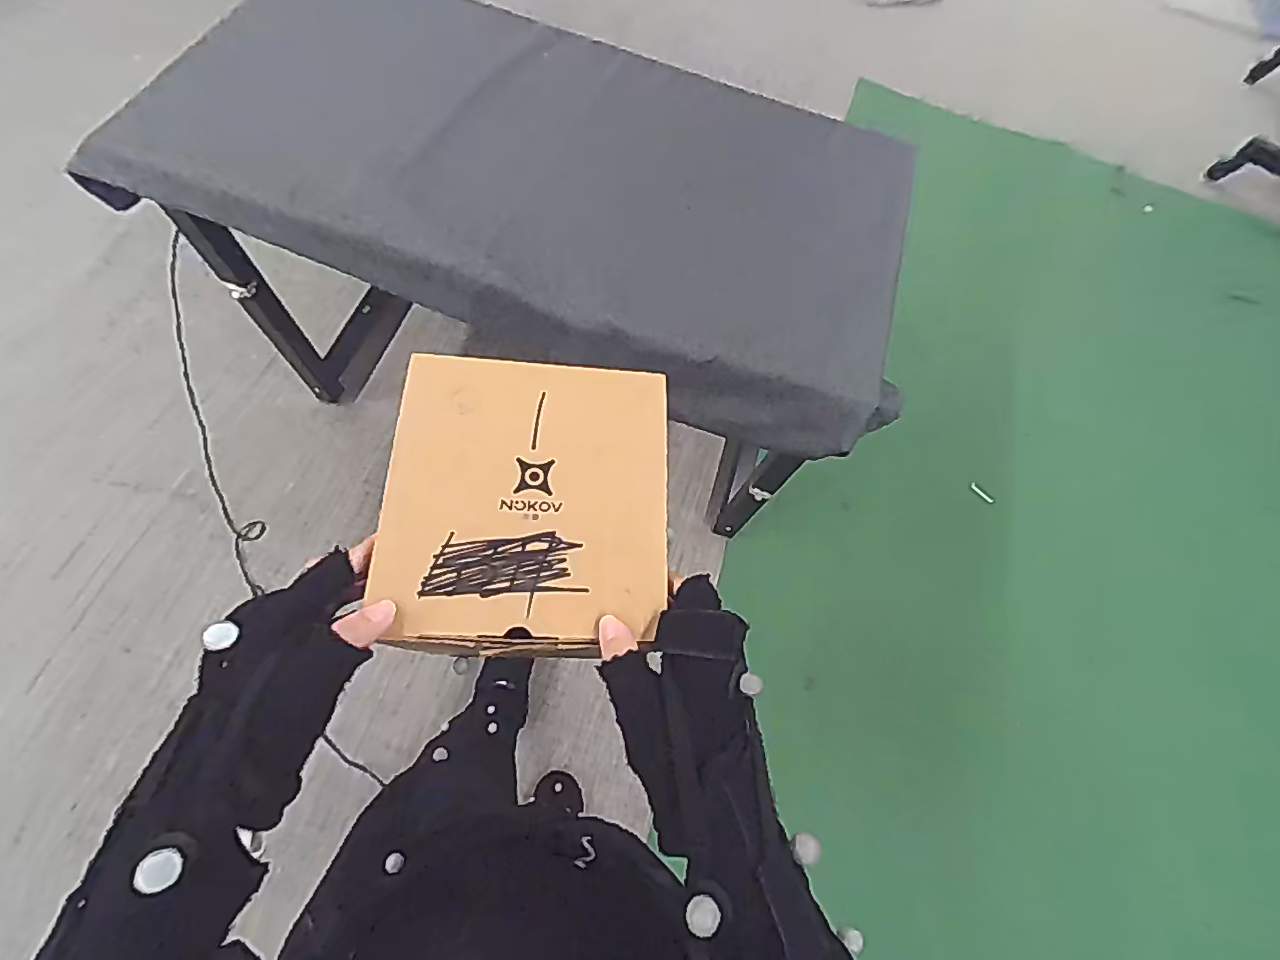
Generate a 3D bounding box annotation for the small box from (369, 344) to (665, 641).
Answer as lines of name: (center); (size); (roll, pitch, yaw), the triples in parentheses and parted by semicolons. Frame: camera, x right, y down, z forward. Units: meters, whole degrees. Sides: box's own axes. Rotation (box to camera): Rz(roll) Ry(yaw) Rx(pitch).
small box: (-0.075, 0.025, 0.403); (0.168, 0.176, 0.179); (3, 69, -7)
